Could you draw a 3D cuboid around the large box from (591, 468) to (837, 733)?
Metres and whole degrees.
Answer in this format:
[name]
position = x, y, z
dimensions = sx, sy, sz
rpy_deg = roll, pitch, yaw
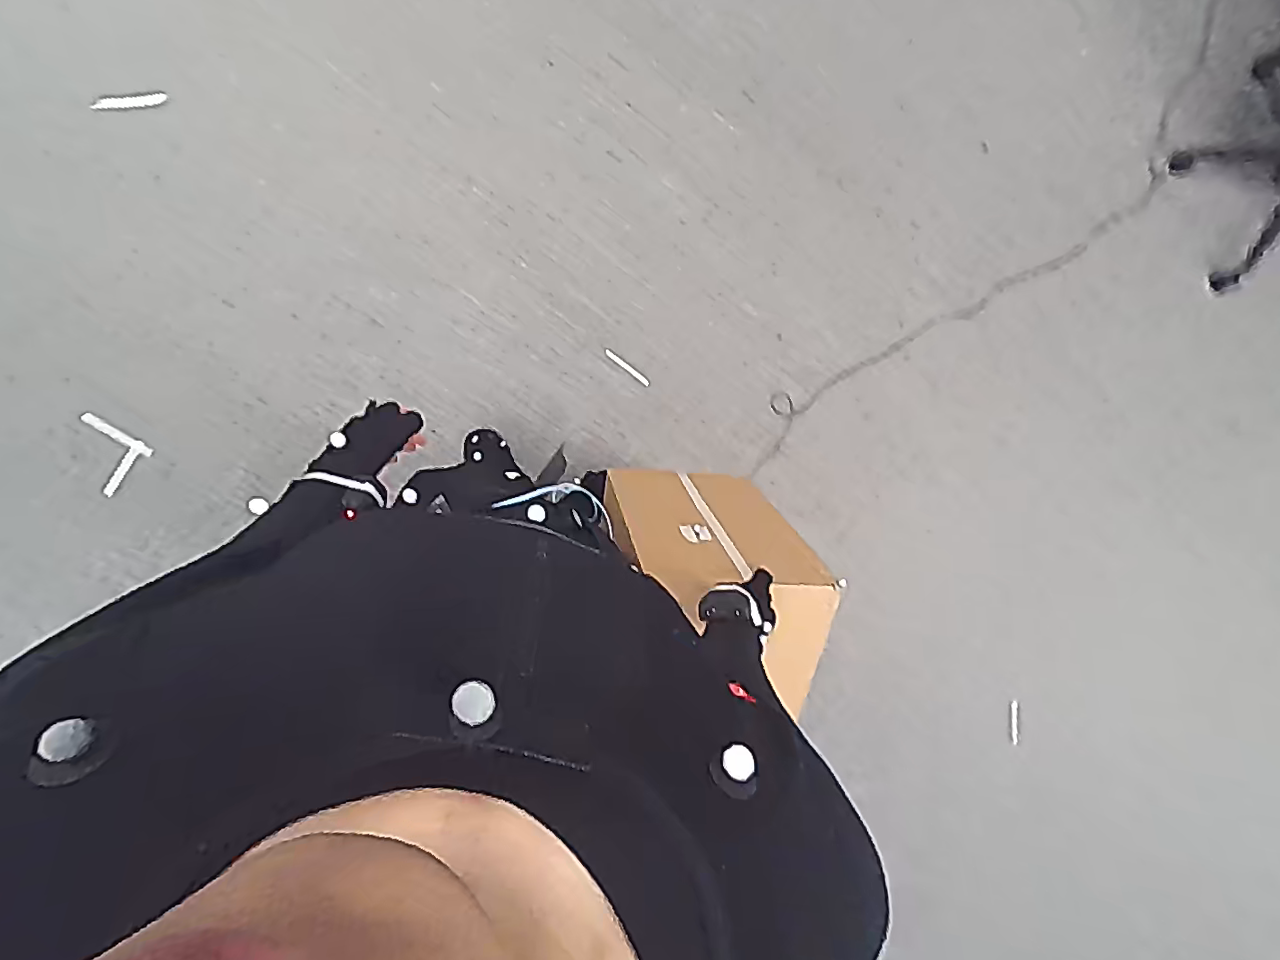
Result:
[large box]
position = 0.096, 0.201, 1.028
dimensions = 0.320, 0.408, 0.320
rpy_deg = 2, 115, -13
